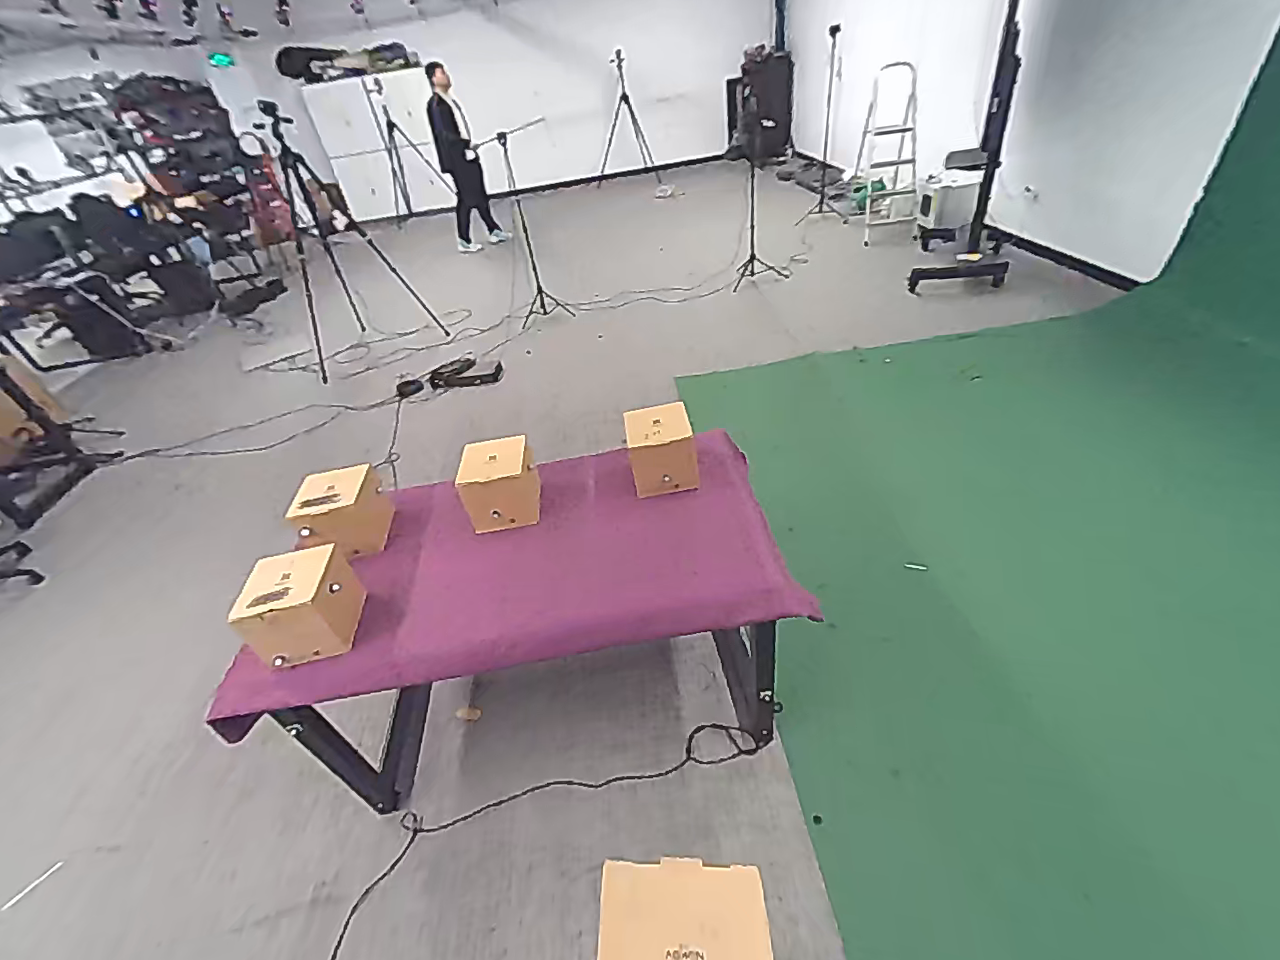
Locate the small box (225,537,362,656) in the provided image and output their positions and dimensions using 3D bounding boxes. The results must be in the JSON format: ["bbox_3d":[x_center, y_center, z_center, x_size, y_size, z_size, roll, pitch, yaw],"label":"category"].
[{"bbox_3d":[-0.725,0.255,1.157,0.168,0.176,0.179,-12,37,-4],"label":"small box"}]

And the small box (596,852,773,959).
[{"bbox_3d":[0.037,0.509,0.536,0.168,0.176,0.179,2,32,0],"label":"small box"}]

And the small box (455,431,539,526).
[{"bbox_3d":[-0.365,-0.004,1.413,0.168,0.176,0.179,-9,40,-1],"label":"small box"}]

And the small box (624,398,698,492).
[{"bbox_3d":[0.055,-0.092,1.431,0.168,0.176,0.179,-11,39,2],"label":"small box"}]
